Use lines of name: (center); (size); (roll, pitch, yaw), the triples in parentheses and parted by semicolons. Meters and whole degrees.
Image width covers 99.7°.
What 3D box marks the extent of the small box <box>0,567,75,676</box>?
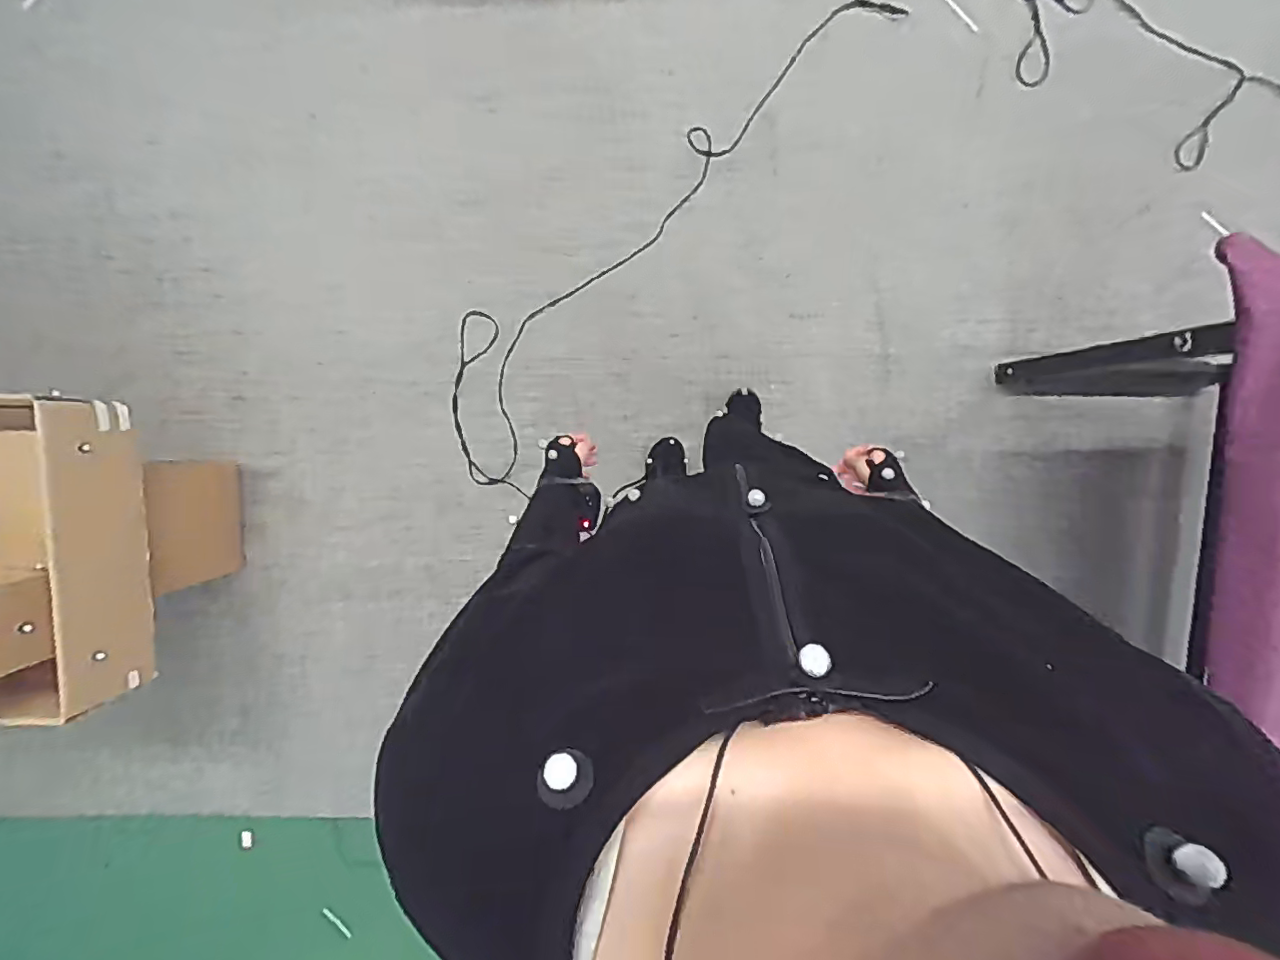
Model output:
small box: (-1.256, 0.270, 1.044); (0.168, 0.176, 0.179); (2, 94, 1)
